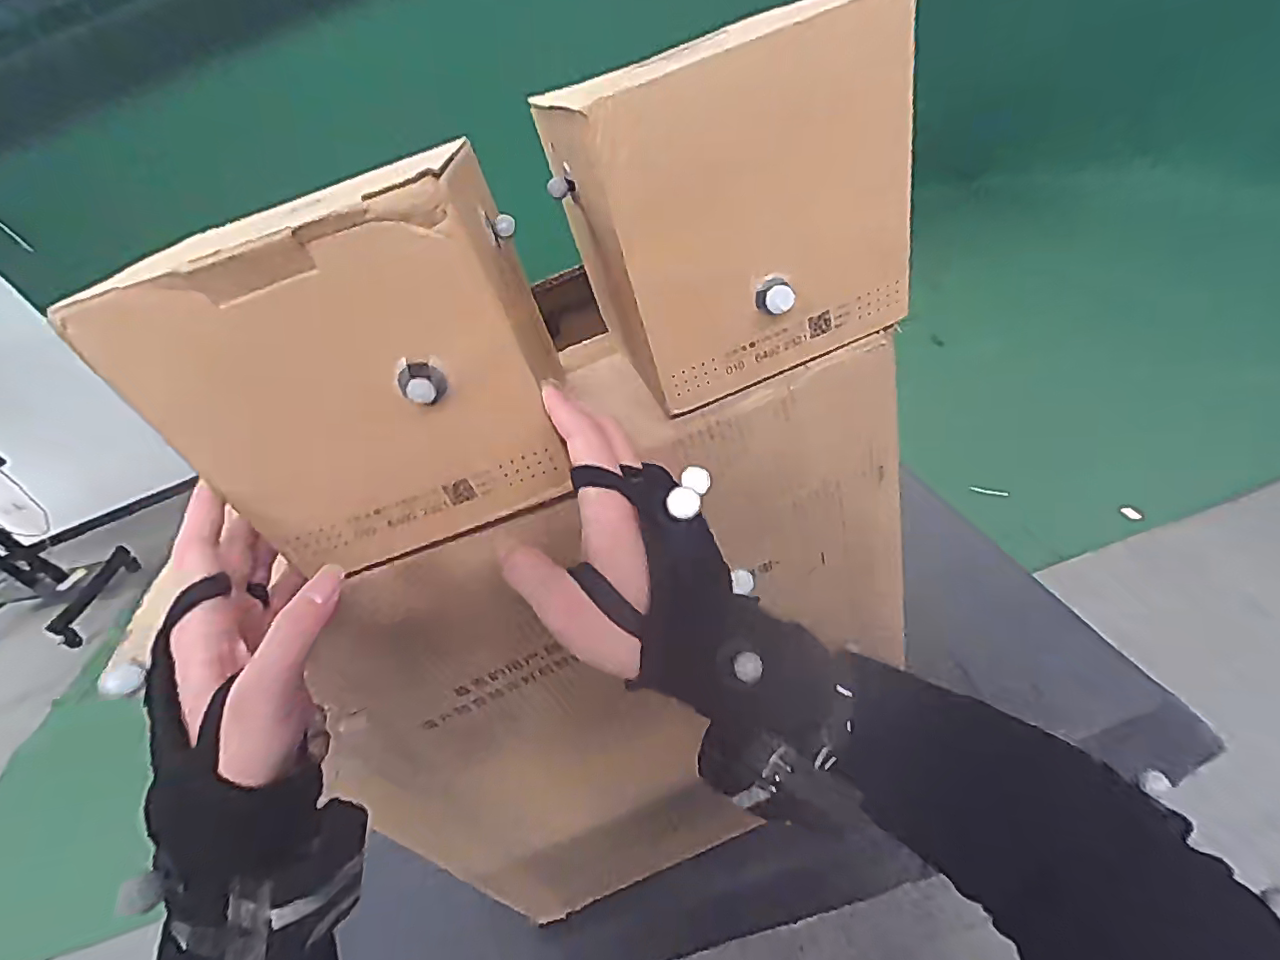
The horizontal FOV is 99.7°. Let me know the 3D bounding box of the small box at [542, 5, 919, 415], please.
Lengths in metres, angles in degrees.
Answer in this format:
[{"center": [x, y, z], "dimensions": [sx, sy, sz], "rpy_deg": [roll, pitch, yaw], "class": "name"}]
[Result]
[{"center": [0.051, -0.171, 0.356], "dimensions": [0.168, 0.176, 0.179], "rpy_deg": [-23, 39, -2], "class": "small box"}]
